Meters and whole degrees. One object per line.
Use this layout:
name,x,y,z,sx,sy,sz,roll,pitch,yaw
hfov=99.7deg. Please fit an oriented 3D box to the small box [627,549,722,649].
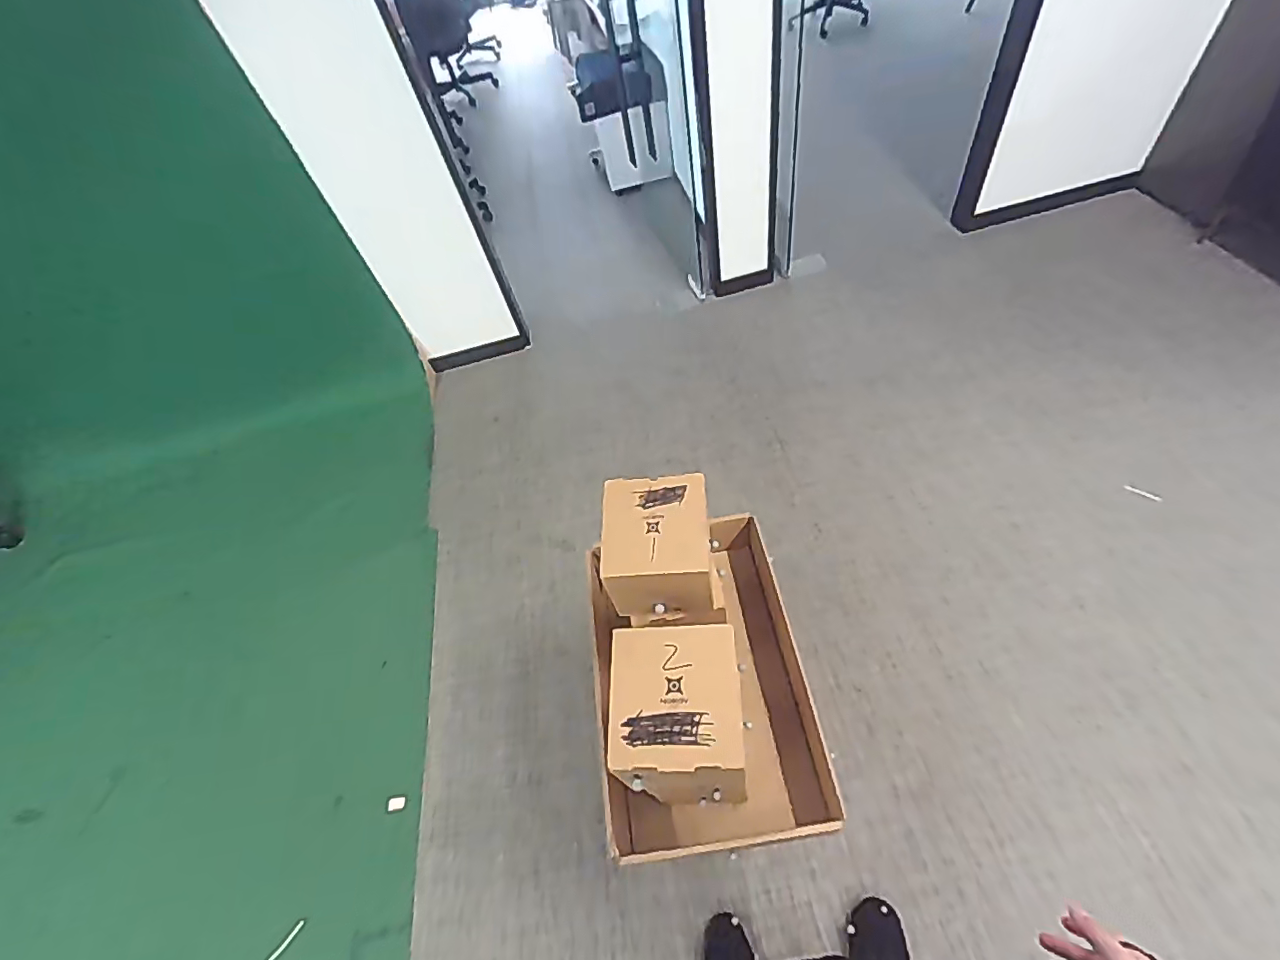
small box,0.058,0.203,1.038,0.168,0.176,0.179,-12,55,2

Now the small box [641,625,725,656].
small box,0.084,0.292,1.170,0.168,0.176,0.179,-12,55,3

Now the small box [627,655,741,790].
small box,0.079,0.400,0.887,0.168,0.176,0.179,-3,53,9

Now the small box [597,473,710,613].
small box,0.028,0.109,0.907,0.168,0.176,0.179,-5,56,8
